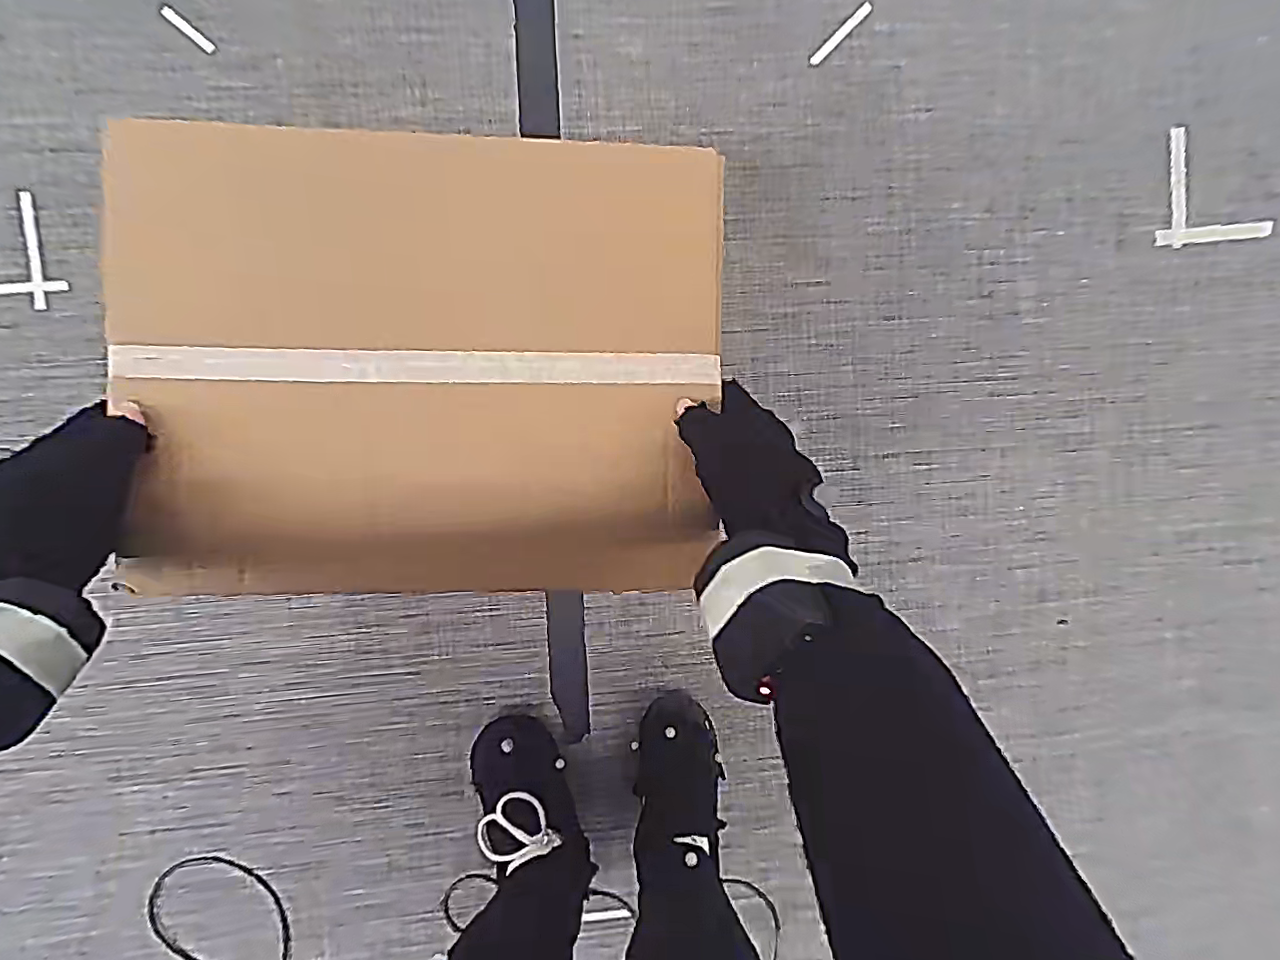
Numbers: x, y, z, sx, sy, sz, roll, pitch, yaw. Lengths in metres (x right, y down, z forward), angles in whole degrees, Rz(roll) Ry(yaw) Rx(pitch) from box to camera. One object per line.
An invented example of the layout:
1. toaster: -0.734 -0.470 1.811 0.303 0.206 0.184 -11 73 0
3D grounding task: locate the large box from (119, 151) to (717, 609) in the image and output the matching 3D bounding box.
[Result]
1. large box: -0.152 -0.074 0.523 0.408 0.320 0.320 0 92 -4
